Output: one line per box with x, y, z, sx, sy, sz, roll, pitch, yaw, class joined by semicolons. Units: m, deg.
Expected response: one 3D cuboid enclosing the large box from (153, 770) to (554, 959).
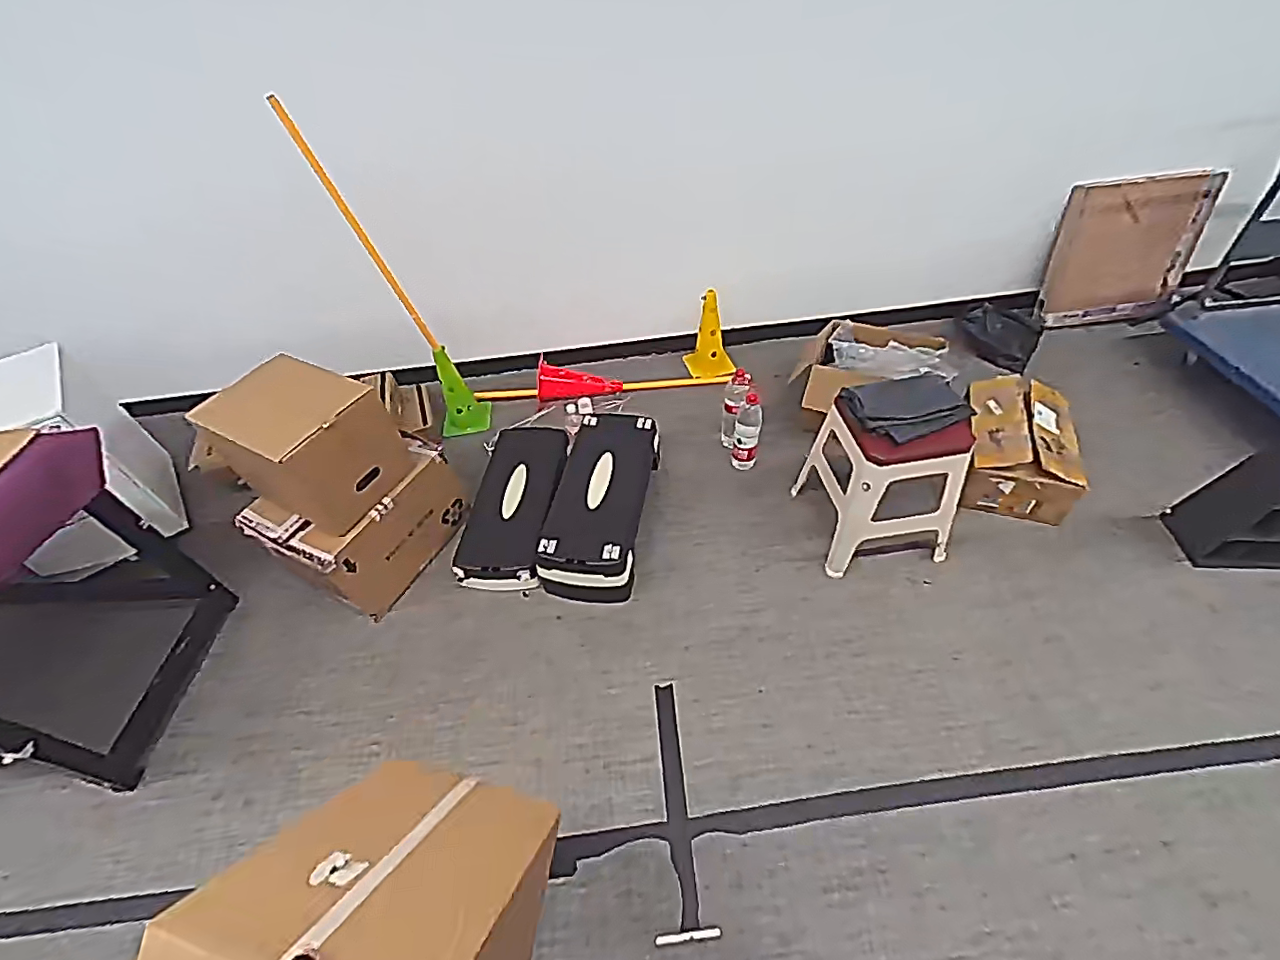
-0.345;0.660;0.708;0.320;0.408;0.320;10;87;11;large box
